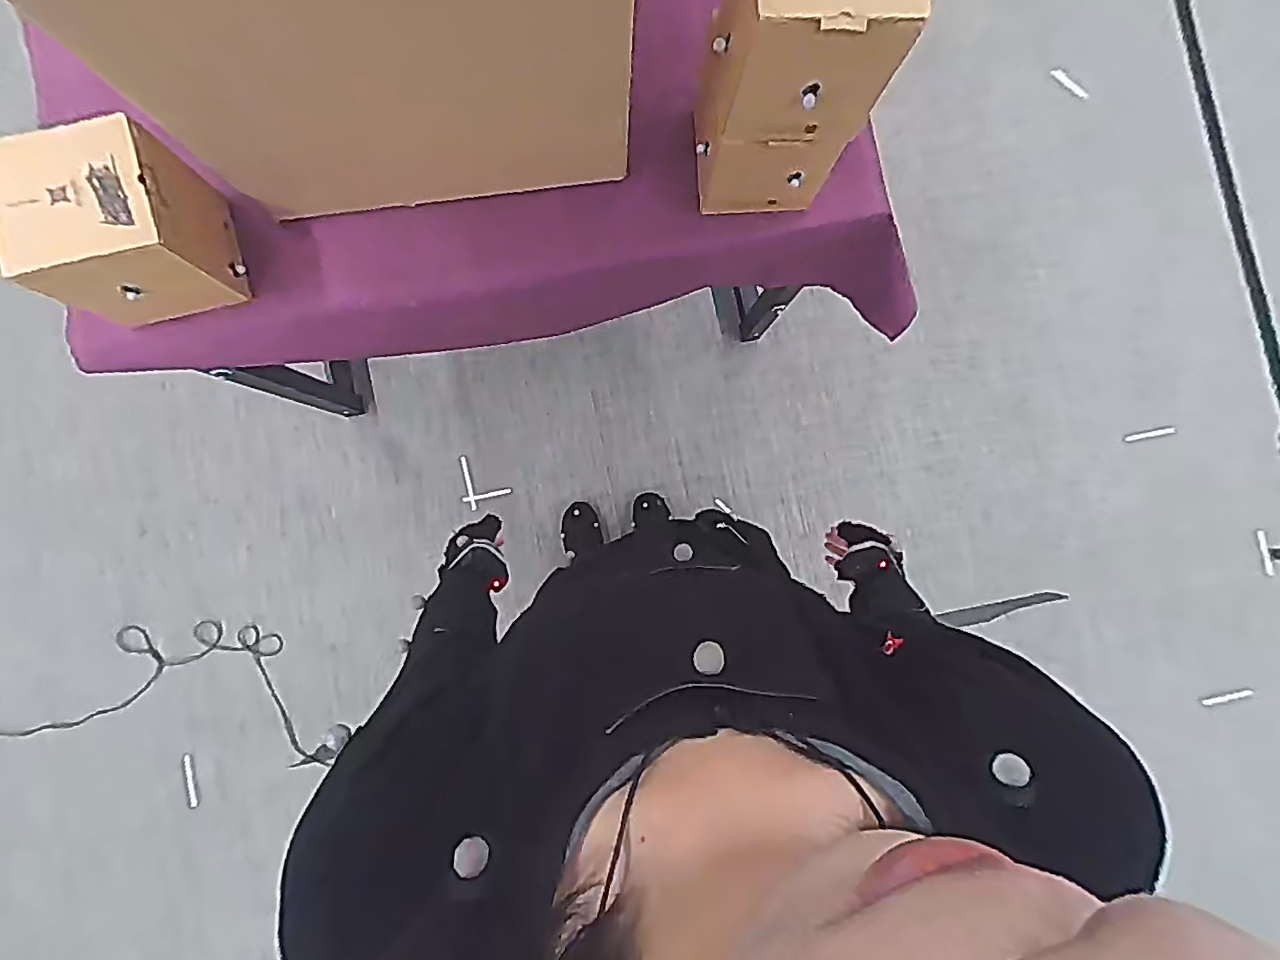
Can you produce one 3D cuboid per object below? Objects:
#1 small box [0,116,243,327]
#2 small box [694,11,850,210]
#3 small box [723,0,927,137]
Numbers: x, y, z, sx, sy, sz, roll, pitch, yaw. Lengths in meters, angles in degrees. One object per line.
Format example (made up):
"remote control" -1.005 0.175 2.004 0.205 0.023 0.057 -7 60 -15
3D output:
"small box" -0.657 -0.320 0.700 0.179 0.176 0.168 -16 86 -4
"small box" 0.173 -0.498 0.753 0.168 0.176 0.179 -4 86 -4
"small box" 0.188 -0.510 0.591 0.168 0.176 0.179 0 87 -2
